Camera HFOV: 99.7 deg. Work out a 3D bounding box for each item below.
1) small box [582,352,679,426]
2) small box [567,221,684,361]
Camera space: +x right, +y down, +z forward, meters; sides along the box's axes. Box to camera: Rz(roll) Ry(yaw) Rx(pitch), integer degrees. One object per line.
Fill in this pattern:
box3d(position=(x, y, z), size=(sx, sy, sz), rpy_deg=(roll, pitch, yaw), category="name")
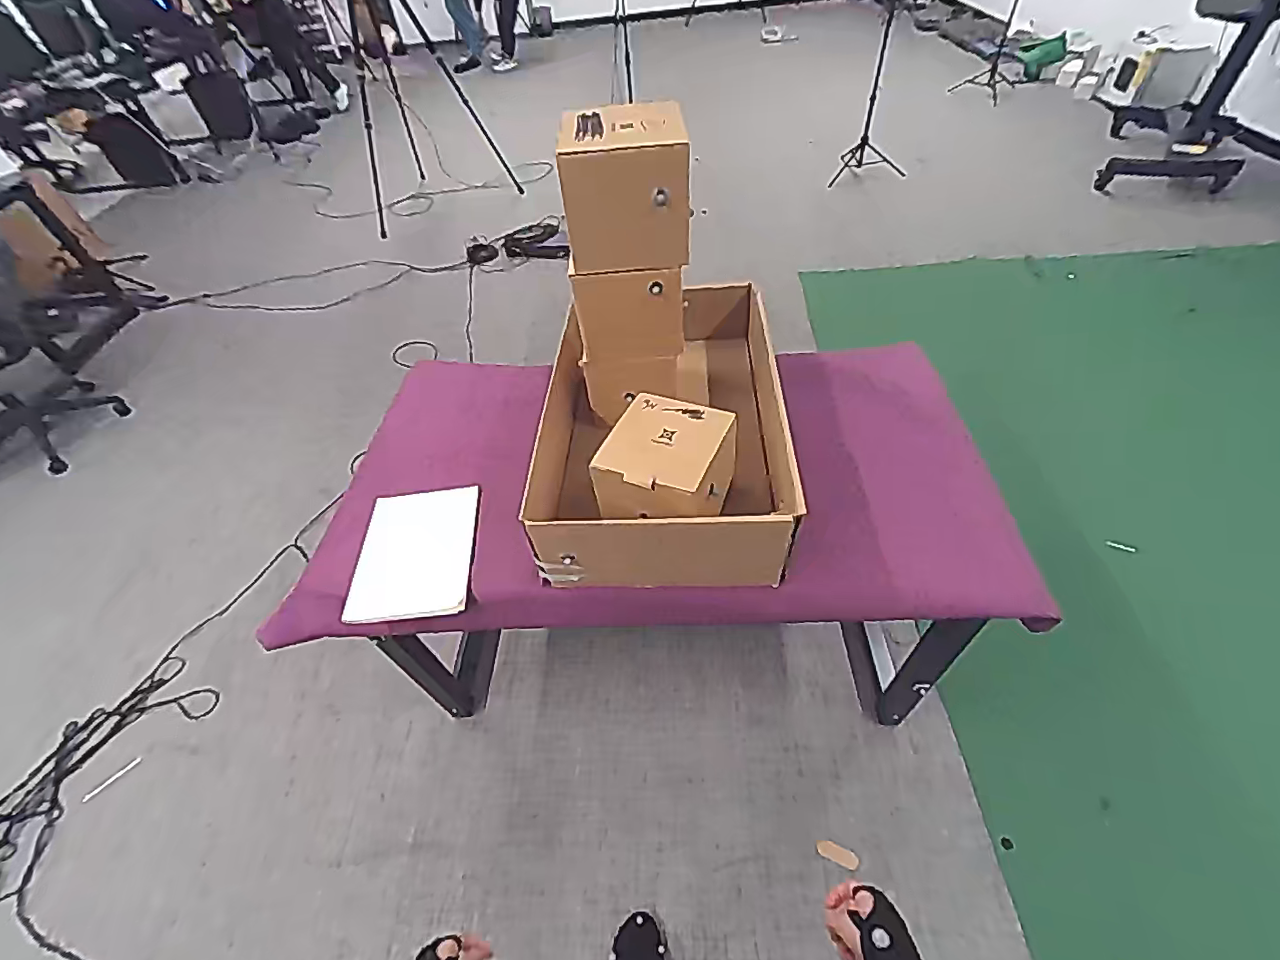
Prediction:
box3d(position=(-0.010, -0.219, 1.055), size=(0.168, 0.176, 0.179), rpy_deg=(-1, 51, 5), category="small box")
box3d(position=(-0.017, -0.320, 0.929), size=(0.179, 0.176, 0.168), rpy_deg=(-3, 50, 3), category="small box")
